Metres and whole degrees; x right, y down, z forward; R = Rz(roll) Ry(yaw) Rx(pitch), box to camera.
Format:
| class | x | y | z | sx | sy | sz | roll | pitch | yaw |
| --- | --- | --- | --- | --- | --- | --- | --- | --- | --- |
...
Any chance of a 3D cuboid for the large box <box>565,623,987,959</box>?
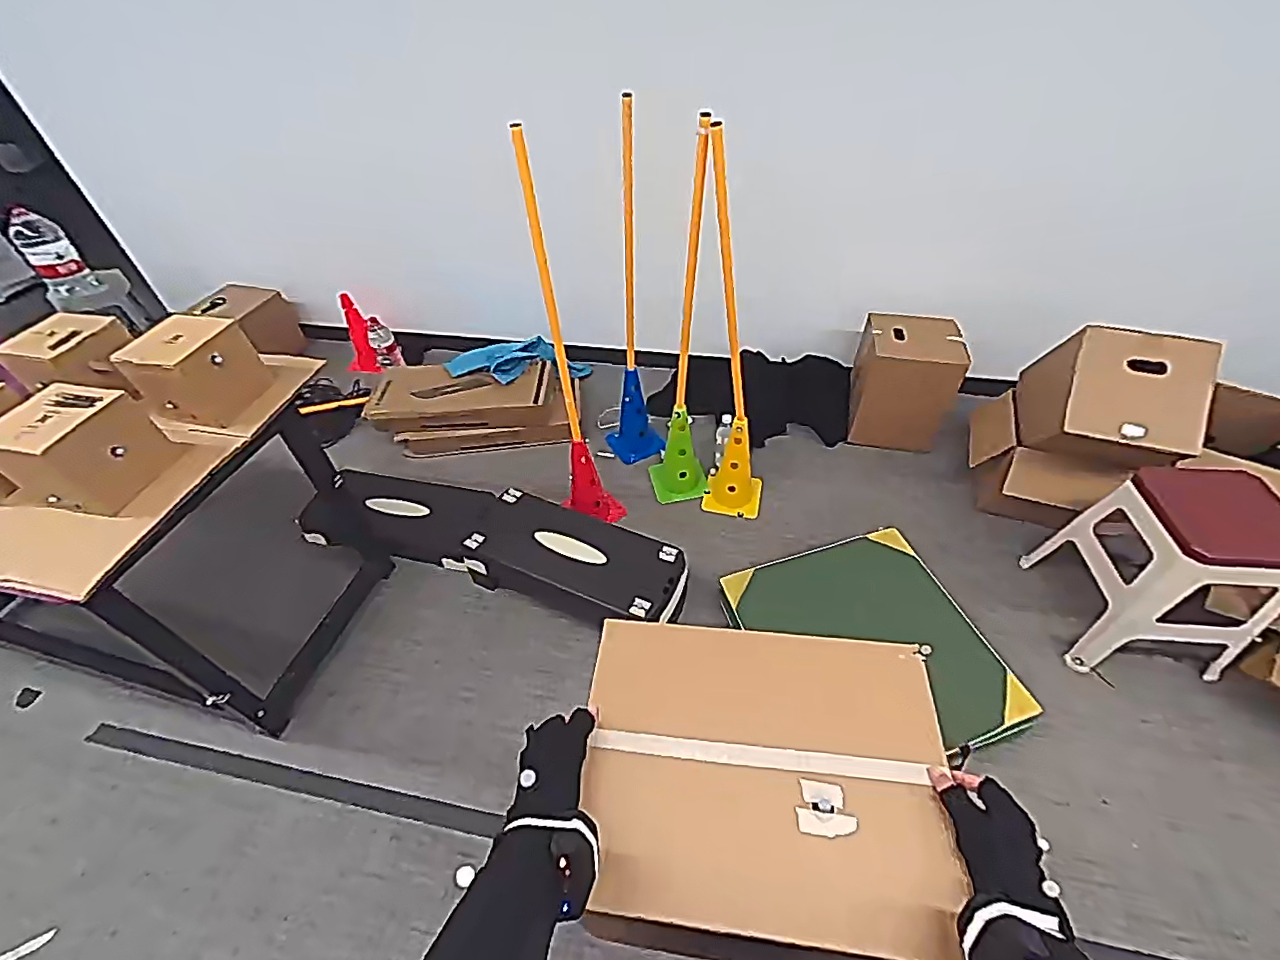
| class | x | y | z | sx | sy | sz | roll | pitch | yaw |
| --- | --- | --- | --- | --- | --- | --- | --- | --- | --- |
| large box | 0.146 | 0.418 | 0.719 | 0.408 | 0.320 | 0.320 | 3 | 46 | 9 |
